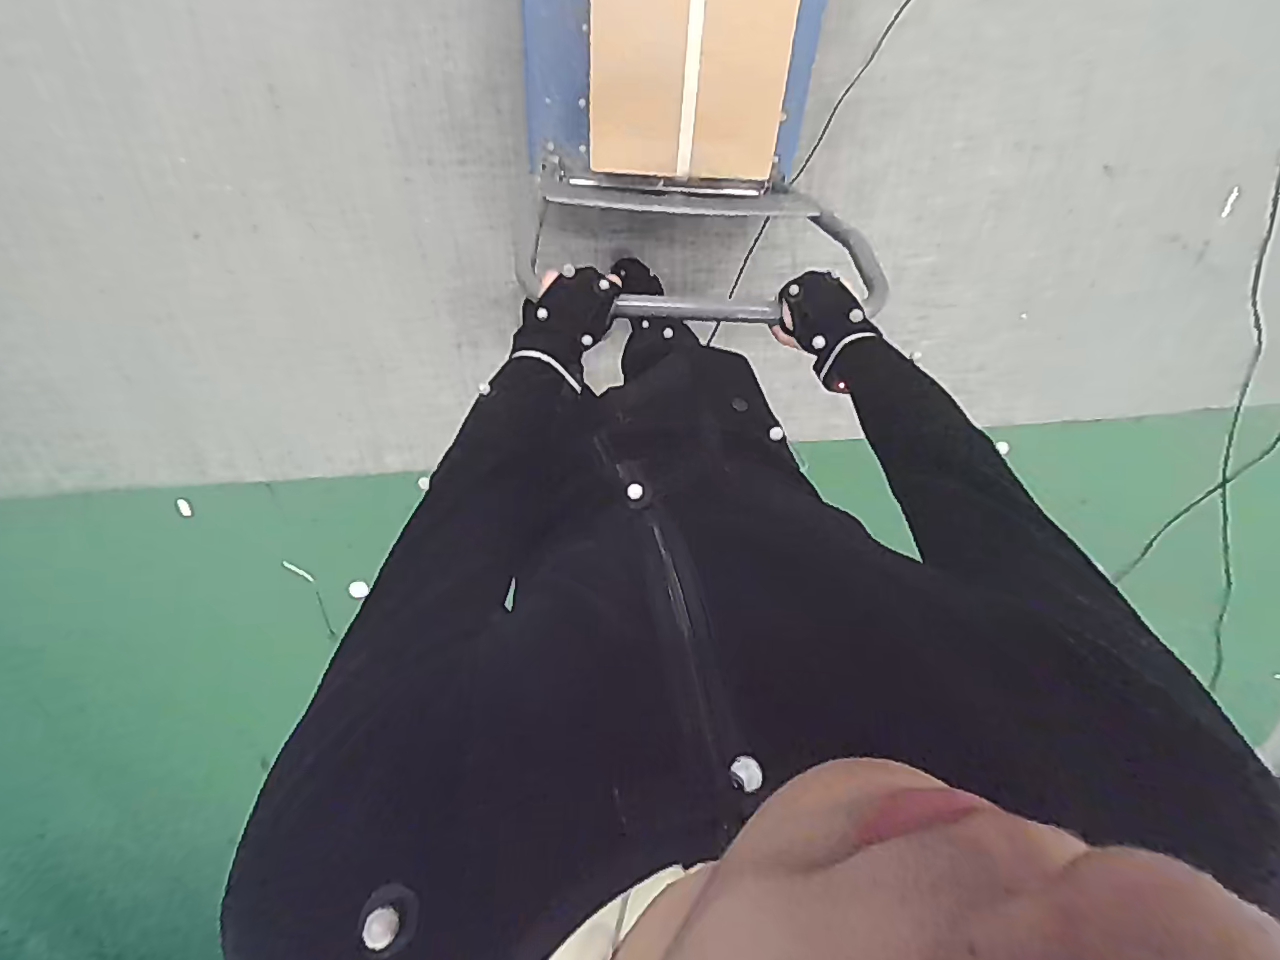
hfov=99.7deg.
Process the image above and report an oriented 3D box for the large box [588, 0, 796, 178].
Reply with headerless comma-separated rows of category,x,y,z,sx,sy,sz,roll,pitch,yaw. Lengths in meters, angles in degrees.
large box,0.073,-0.767,0.941,0.320,0.320,0.408,0,124,-4
